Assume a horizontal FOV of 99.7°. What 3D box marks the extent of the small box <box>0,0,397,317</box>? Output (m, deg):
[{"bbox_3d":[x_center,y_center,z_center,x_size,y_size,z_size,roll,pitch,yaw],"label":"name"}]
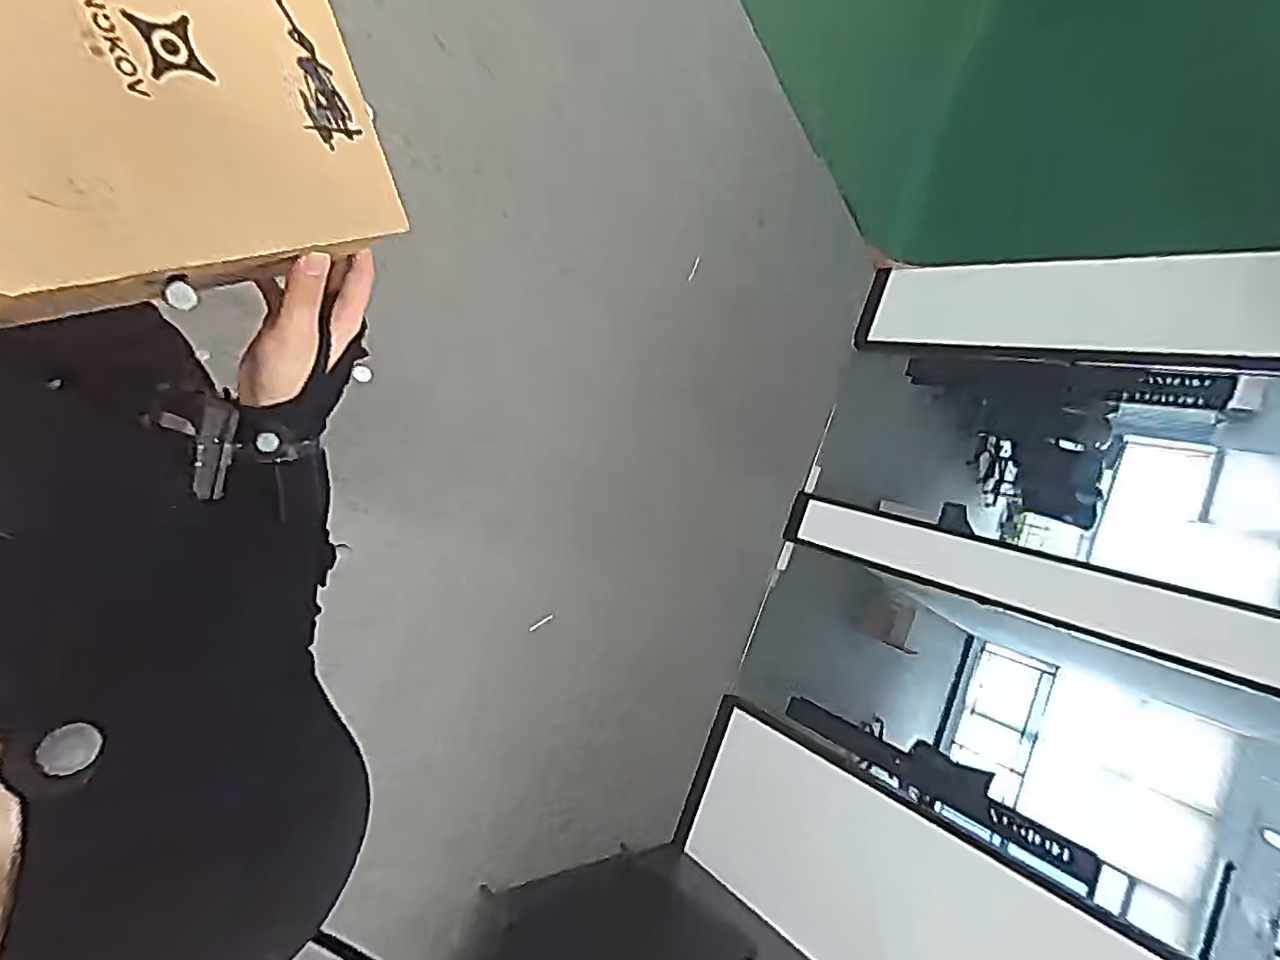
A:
[{"bbox_3d":[-0.267,-0.187,0.270,0.179,0.176,0.168,-37,124,-41],"label":"small box"}]
